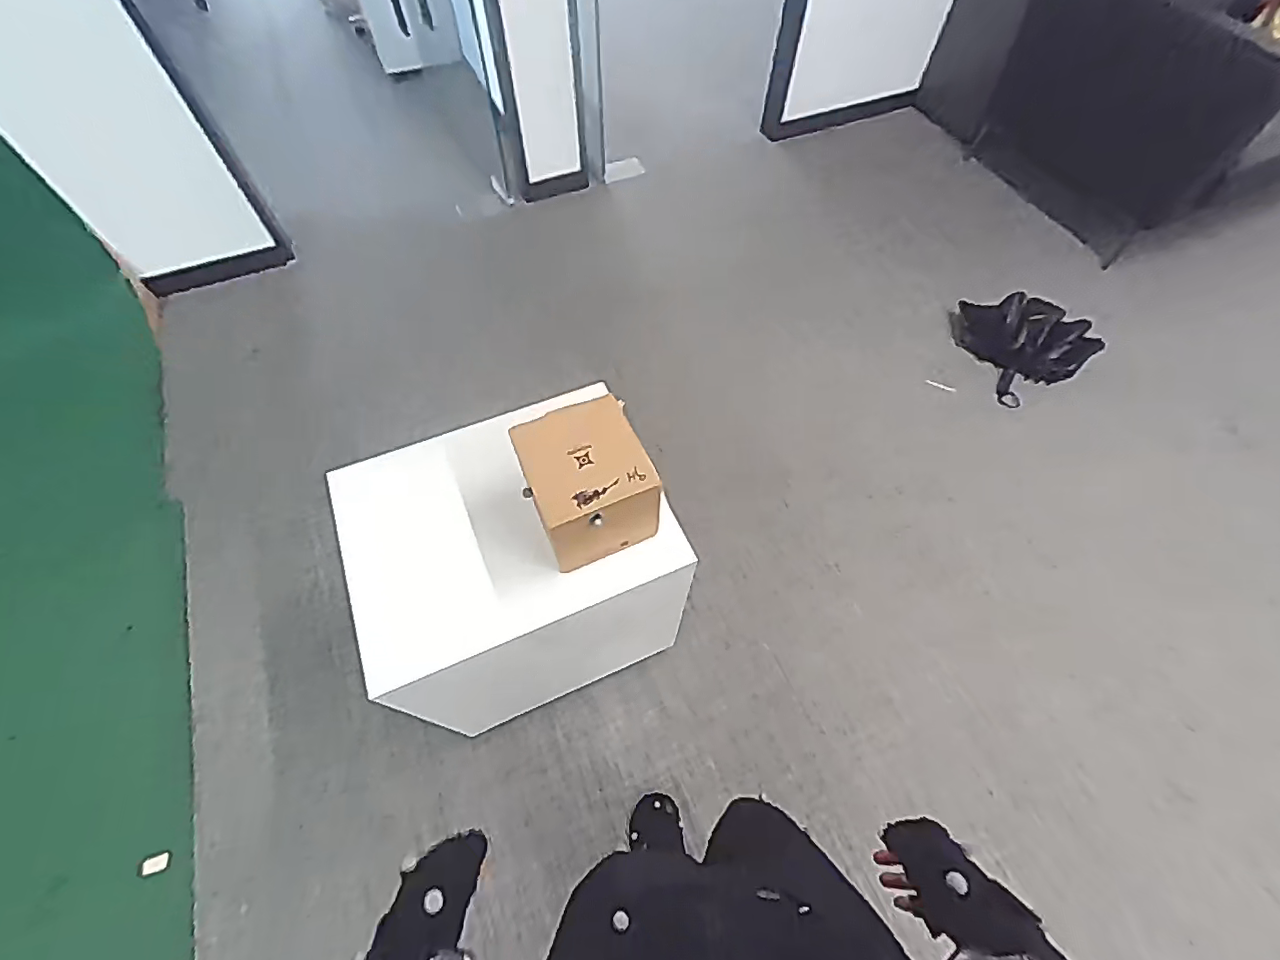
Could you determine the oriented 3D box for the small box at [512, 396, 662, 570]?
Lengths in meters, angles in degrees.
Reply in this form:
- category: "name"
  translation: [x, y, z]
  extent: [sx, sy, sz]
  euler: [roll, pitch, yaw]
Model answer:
- category: "small box"
  translation: [-0.078, 0.008, 0.823]
  extent: [0.168, 0.176, 0.179]
  euler: [-22, 61, -12]
